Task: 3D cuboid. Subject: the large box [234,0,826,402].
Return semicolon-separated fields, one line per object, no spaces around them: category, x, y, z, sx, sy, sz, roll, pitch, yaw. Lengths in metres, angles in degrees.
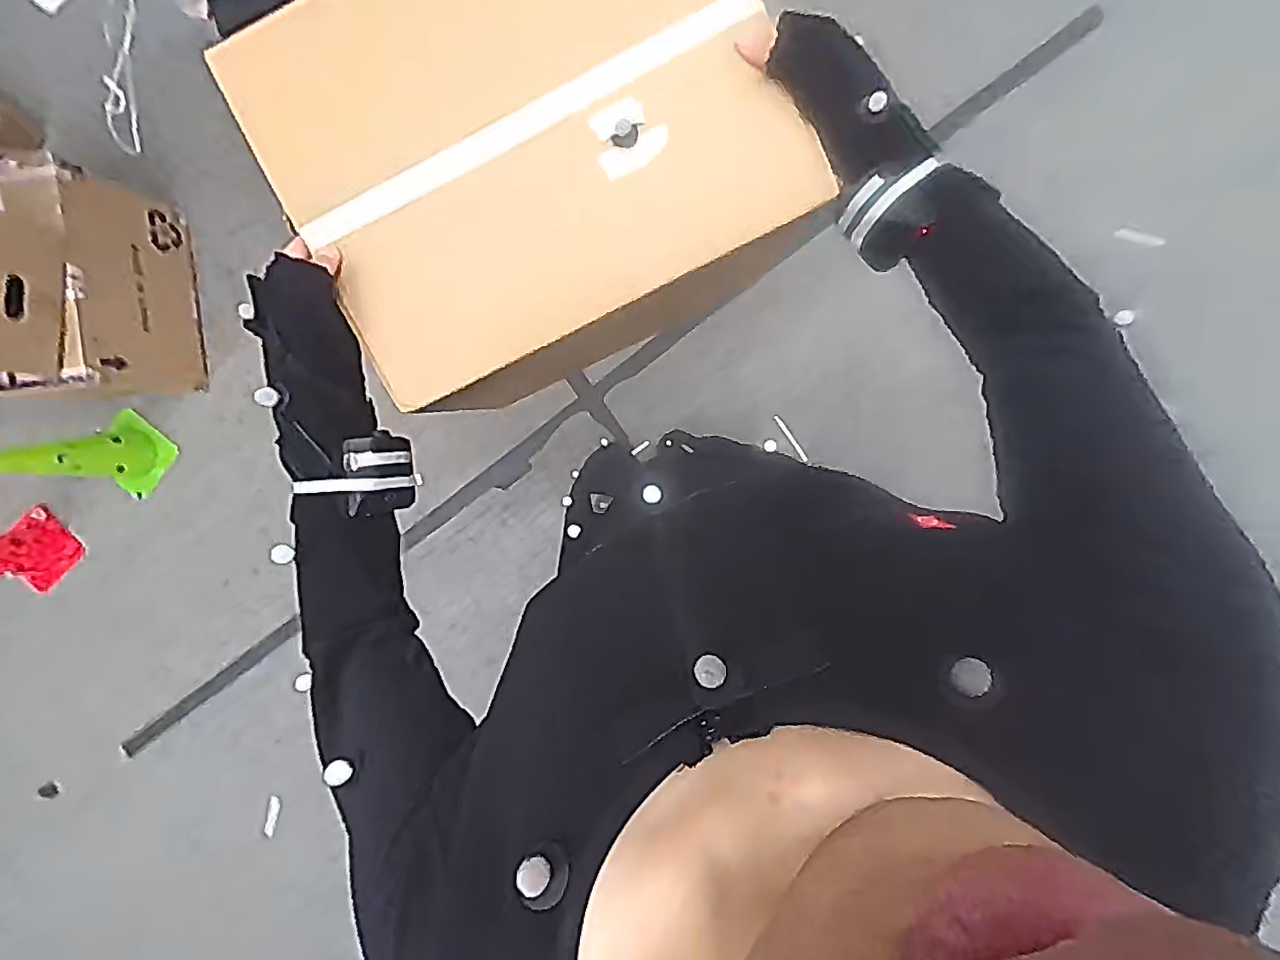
large box;-0.088;-0.310;0.585;0.408;0.320;0.320;-25;97;3
